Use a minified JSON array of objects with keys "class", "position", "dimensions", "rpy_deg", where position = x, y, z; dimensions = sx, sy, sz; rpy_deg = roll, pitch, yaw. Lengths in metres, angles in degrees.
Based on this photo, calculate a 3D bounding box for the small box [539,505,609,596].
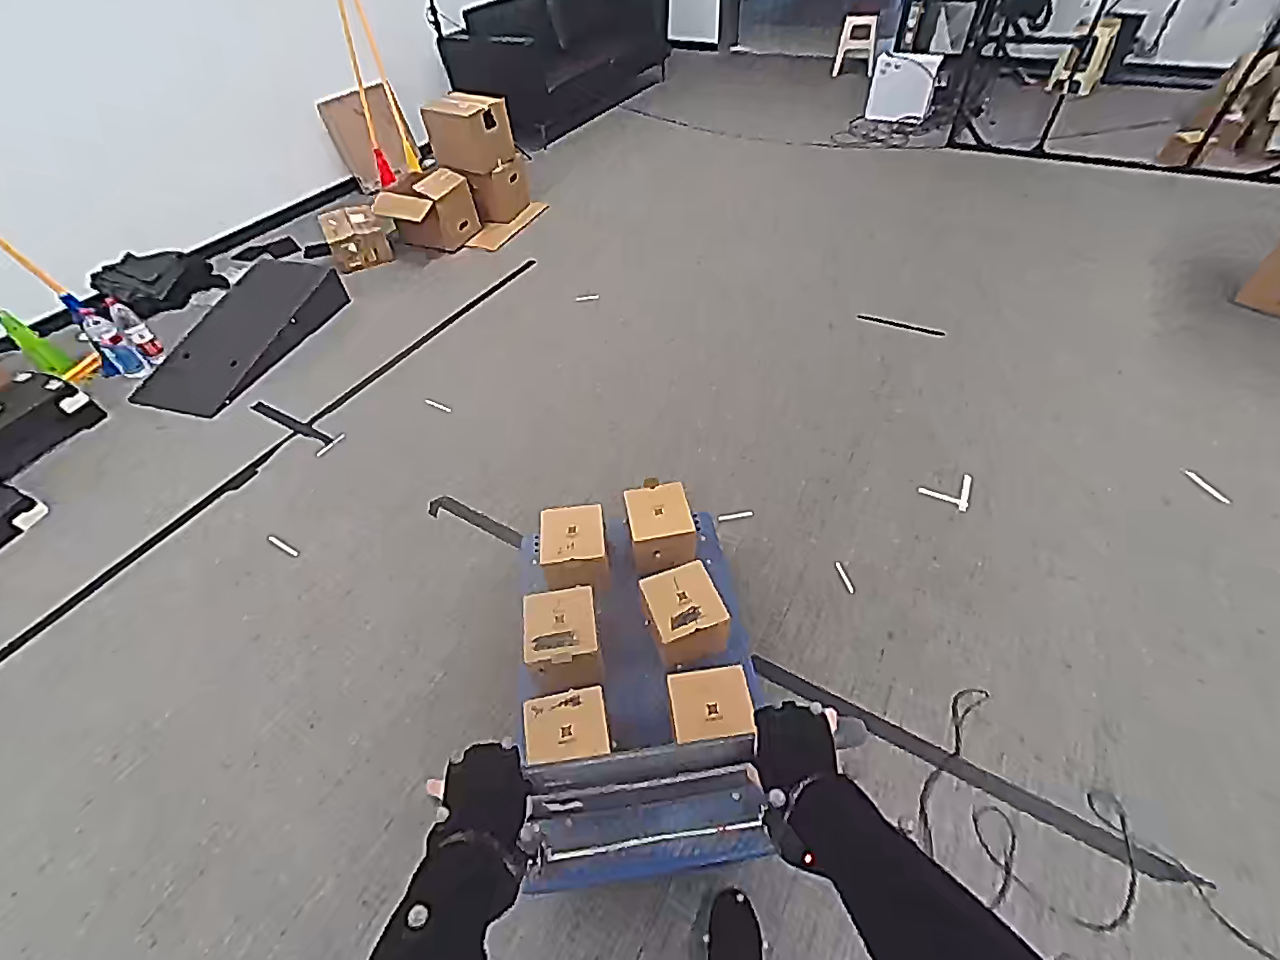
[{"class":"small box","position":[-0.177,0.193,1.472],"dimensions":[0.168,0.176,0.179],"rpy_deg":[-7,49,-2]}]

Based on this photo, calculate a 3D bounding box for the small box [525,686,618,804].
[{"class":"small box","position":[-0.143,0.564,1.140],"dimensions":[0.168,0.176,0.179],"rpy_deg":[-9,49,-7]}]

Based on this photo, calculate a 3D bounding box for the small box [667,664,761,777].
[{"class":"small box","position":[0.151,0.523,1.162],"dimensions":[0.168,0.176,0.179],"rpy_deg":[-7,48,-4]}]

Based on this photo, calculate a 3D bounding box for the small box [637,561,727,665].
[{"class":"small box","position":[0.102,0.334,1.332],"dimensions":[0.168,0.176,0.179],"rpy_deg":[-17,49,-12]}]

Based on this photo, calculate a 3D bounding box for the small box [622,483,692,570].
[{"class":"small box","position":[0.048,0.137,1.512],"dimensions":[0.168,0.176,0.179],"rpy_deg":[-10,48,-5]}]
